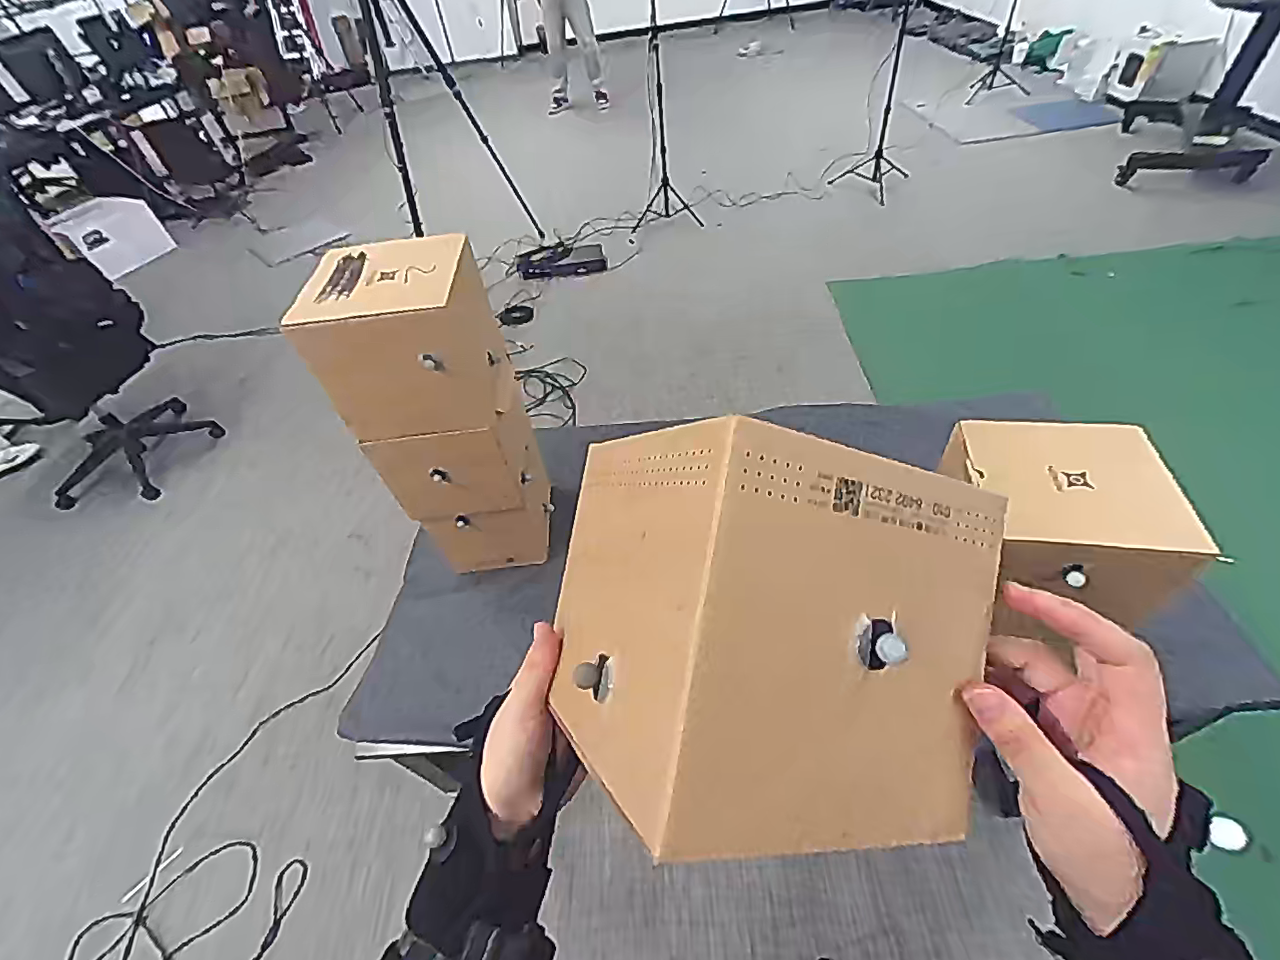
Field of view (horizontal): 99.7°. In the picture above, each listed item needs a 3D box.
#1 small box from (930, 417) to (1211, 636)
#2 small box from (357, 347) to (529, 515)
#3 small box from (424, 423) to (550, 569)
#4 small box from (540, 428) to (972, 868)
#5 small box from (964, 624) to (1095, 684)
[{"bbox_3d":[0.423,0.052,0.582,0.179,0.176,0.168,3,48,13],"label":"small box"},{"bbox_3d":[-0.268,-0.067,0.787,0.179,0.176,0.168,-7,49,2],"label":"small box"},{"bbox_3d":[-0.252,0.029,0.921,0.168,0.176,0.179,-7,49,1],"label":"small box"},{"bbox_3d":[0.055,0.071,0.305,0.168,0.179,0.176,13,86,-23],"label":"small box"},{"bbox_3d":[0.441,0.150,0.711,0.168,0.176,0.179,-4,48,5],"label":"small box"}]
